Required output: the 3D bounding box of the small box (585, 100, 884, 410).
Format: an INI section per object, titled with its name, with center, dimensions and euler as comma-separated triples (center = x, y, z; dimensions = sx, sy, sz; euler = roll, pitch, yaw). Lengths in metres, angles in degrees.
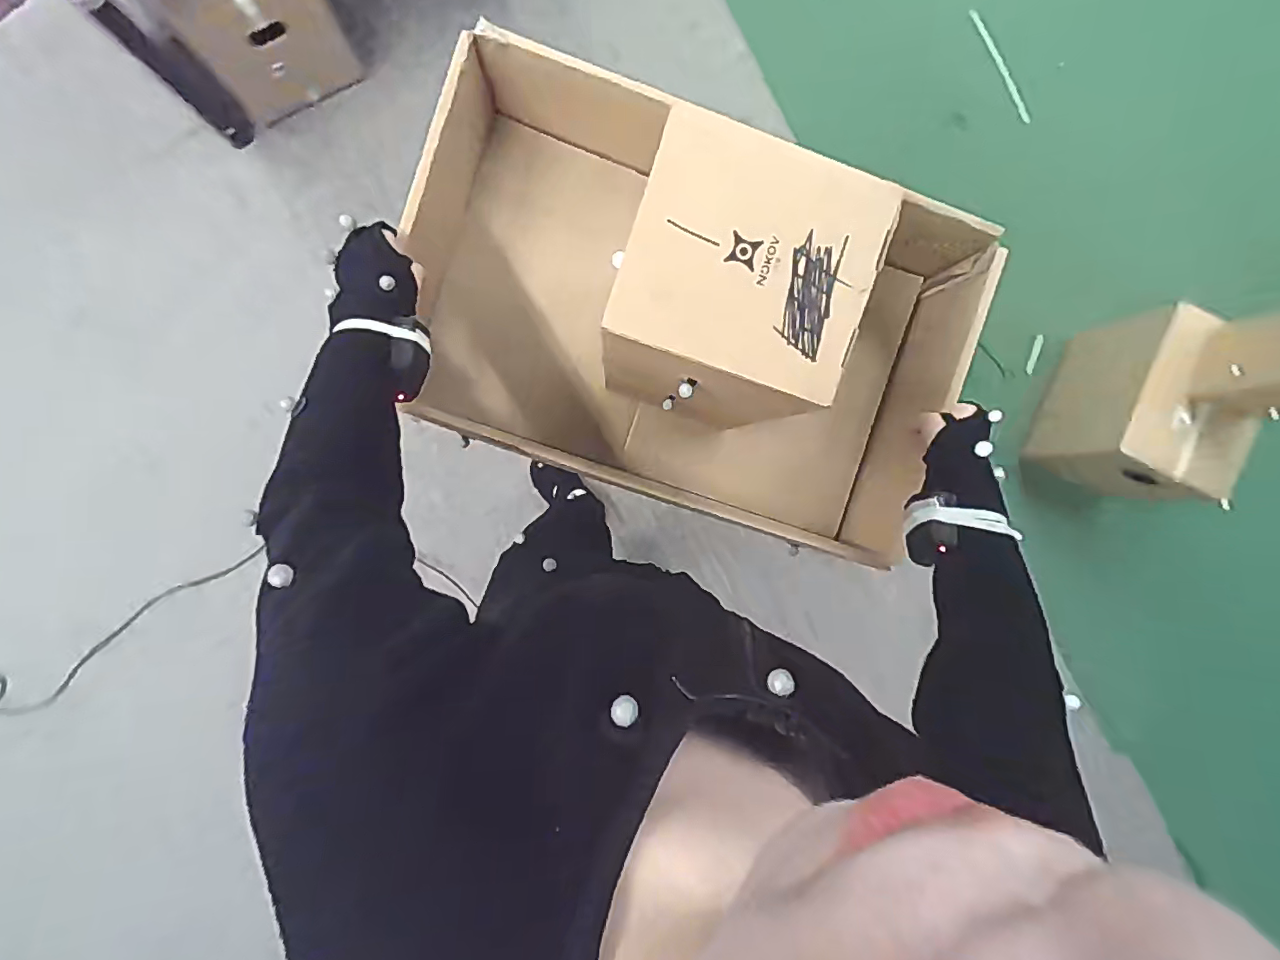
[small box]
center = 0.063, -0.163, 0.458
dimensions = 0.179, 0.176, 0.168
euler = 17, 91, -4
